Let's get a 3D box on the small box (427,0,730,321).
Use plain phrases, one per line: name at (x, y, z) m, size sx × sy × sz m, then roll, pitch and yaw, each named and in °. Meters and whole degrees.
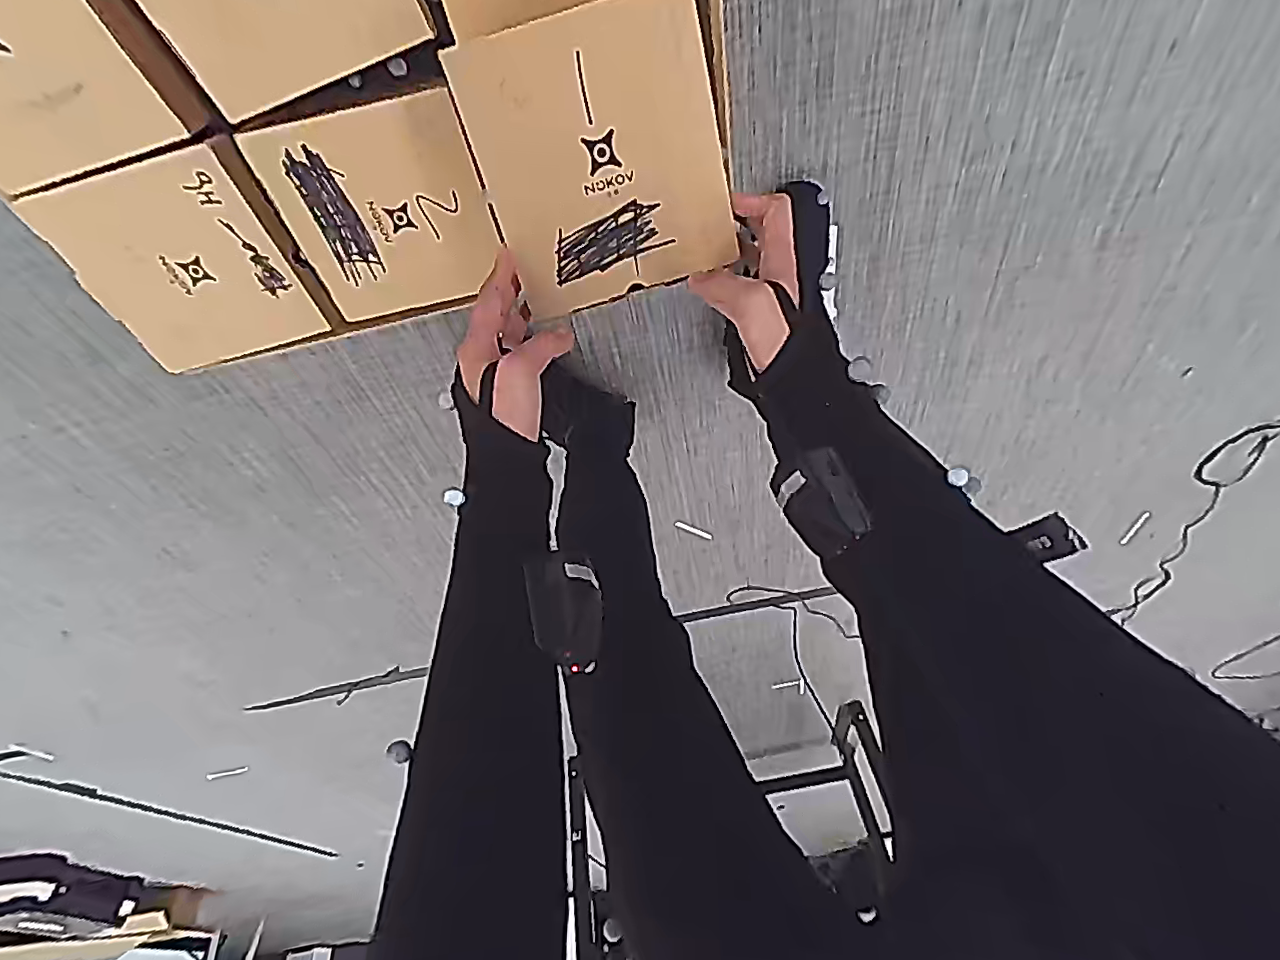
small box at (-0.038, -0.250, 0.435) m, size 0.168 × 0.176 × 0.179 m, roll -16°, pitch 117°, yaw 2°
